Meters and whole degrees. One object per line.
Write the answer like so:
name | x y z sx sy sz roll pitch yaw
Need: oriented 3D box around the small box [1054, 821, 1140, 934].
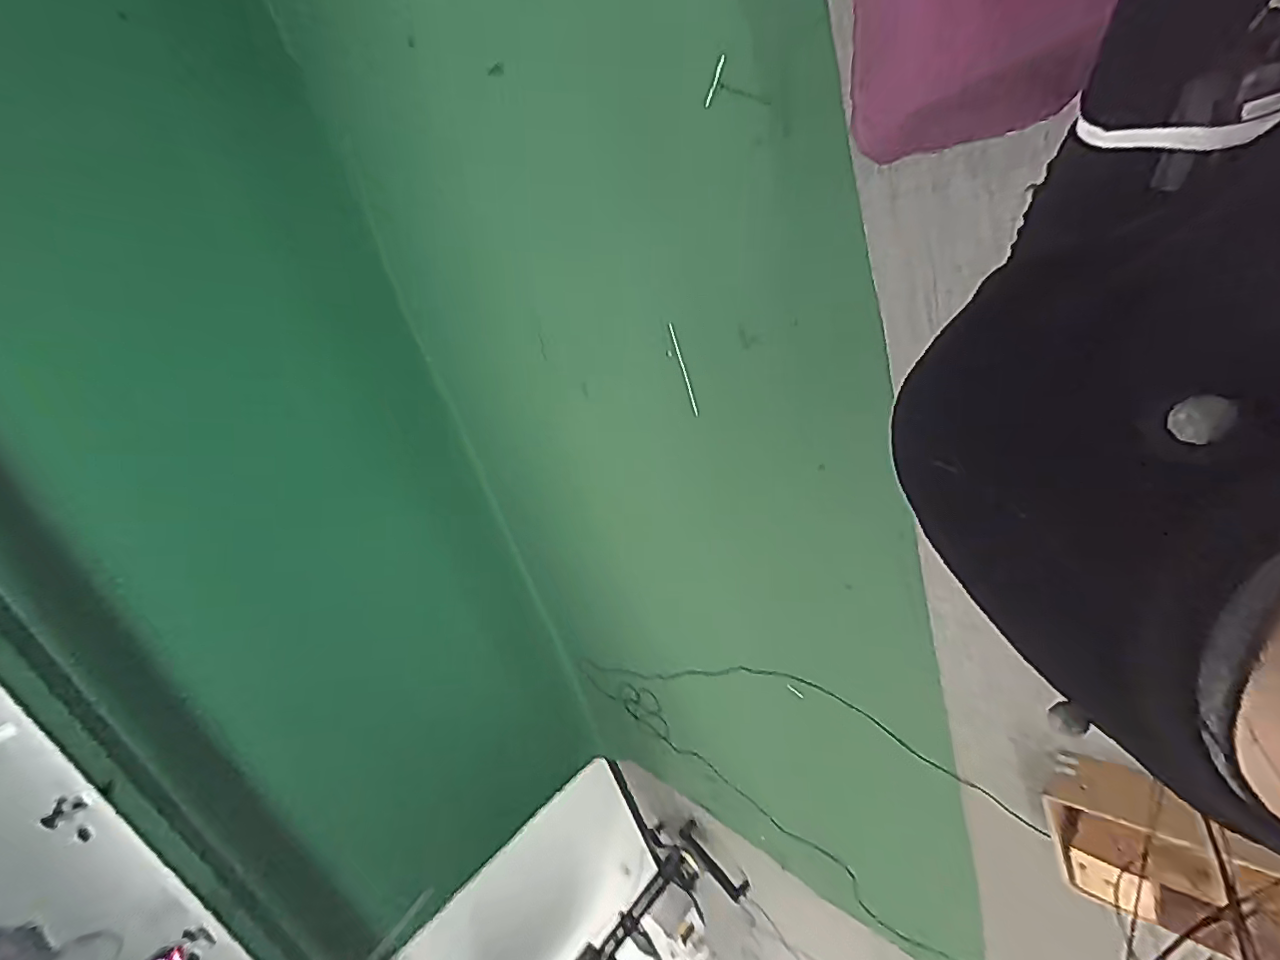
small box | 1.343 1.151 1.585 0.179 0.176 0.168 2 116 48

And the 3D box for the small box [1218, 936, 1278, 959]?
small box | 1.444 1.212 1.232 0.179 0.176 0.168 2 114 50
